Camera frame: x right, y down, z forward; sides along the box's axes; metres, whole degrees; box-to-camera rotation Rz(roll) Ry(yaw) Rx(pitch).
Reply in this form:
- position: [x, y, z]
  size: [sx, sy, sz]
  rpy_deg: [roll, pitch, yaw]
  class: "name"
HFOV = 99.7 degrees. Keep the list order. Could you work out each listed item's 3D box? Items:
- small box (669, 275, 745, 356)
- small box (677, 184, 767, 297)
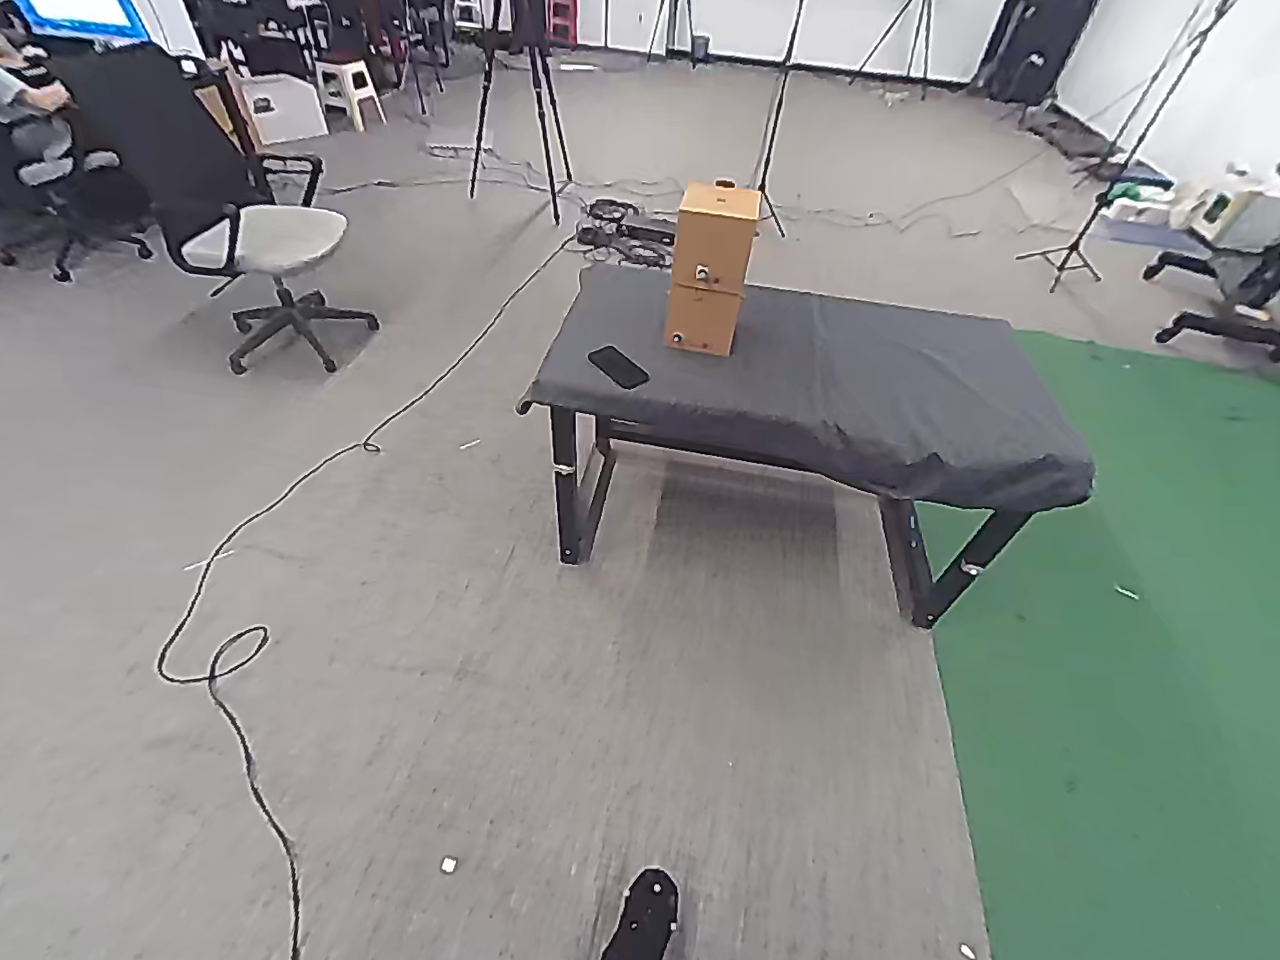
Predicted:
- position: [0.169, -0.429, 1.332]
  size: [0.168, 0.176, 0.179]
  rpy_deg: [12, 46, 5]
  class: "small box"
- position: [0.181, -0.536, 1.212]
  size: [0.168, 0.176, 0.179]
  rpy_deg: [10, 47, 5]
  class: "small box"
